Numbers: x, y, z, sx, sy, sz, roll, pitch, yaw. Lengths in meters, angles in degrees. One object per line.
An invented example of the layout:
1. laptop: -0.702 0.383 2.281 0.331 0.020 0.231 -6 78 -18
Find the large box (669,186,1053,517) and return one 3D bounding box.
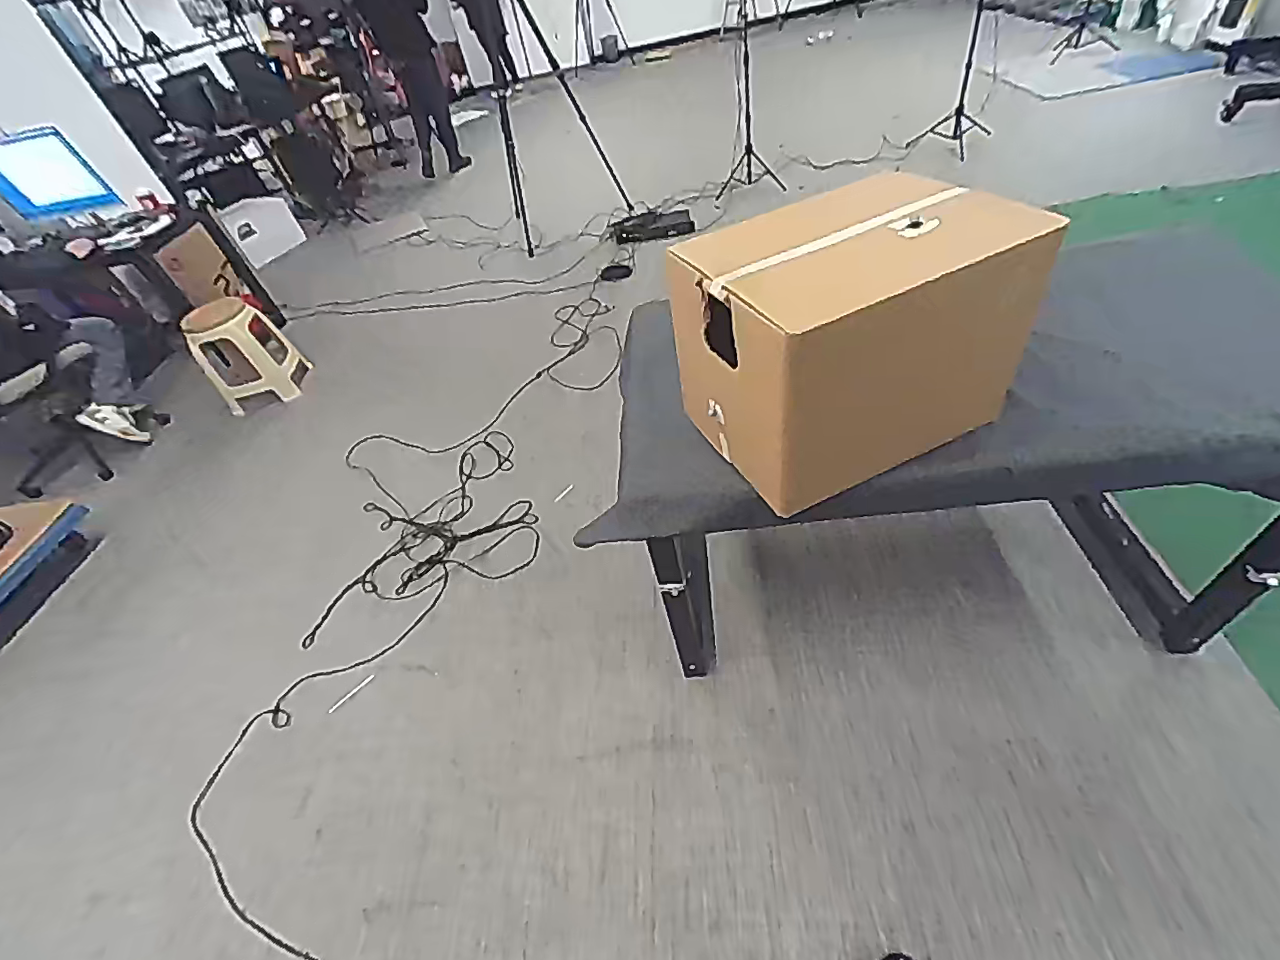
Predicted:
1. large box: 0.301 -0.209 0.838 0.408 0.320 0.320 -23 46 -12
